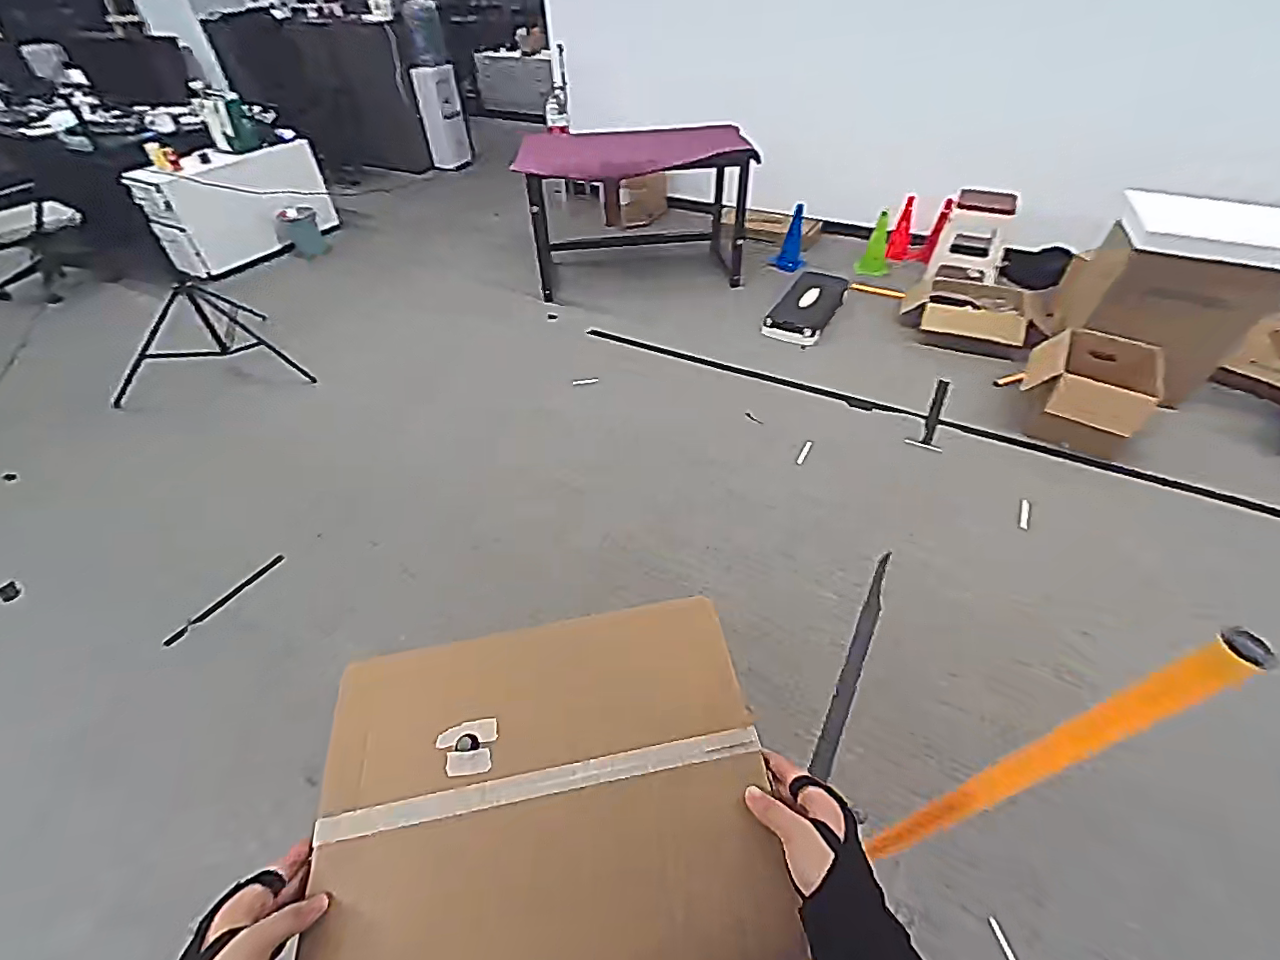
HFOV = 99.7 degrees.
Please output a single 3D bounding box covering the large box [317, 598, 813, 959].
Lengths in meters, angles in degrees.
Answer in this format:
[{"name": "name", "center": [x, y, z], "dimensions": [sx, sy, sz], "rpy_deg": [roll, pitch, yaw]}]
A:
[{"name": "large box", "center": [-0.072, 0.379, 0.620], "dimensions": [0.408, 0.320, 0.320], "rpy_deg": [-11, 50, -4]}]
